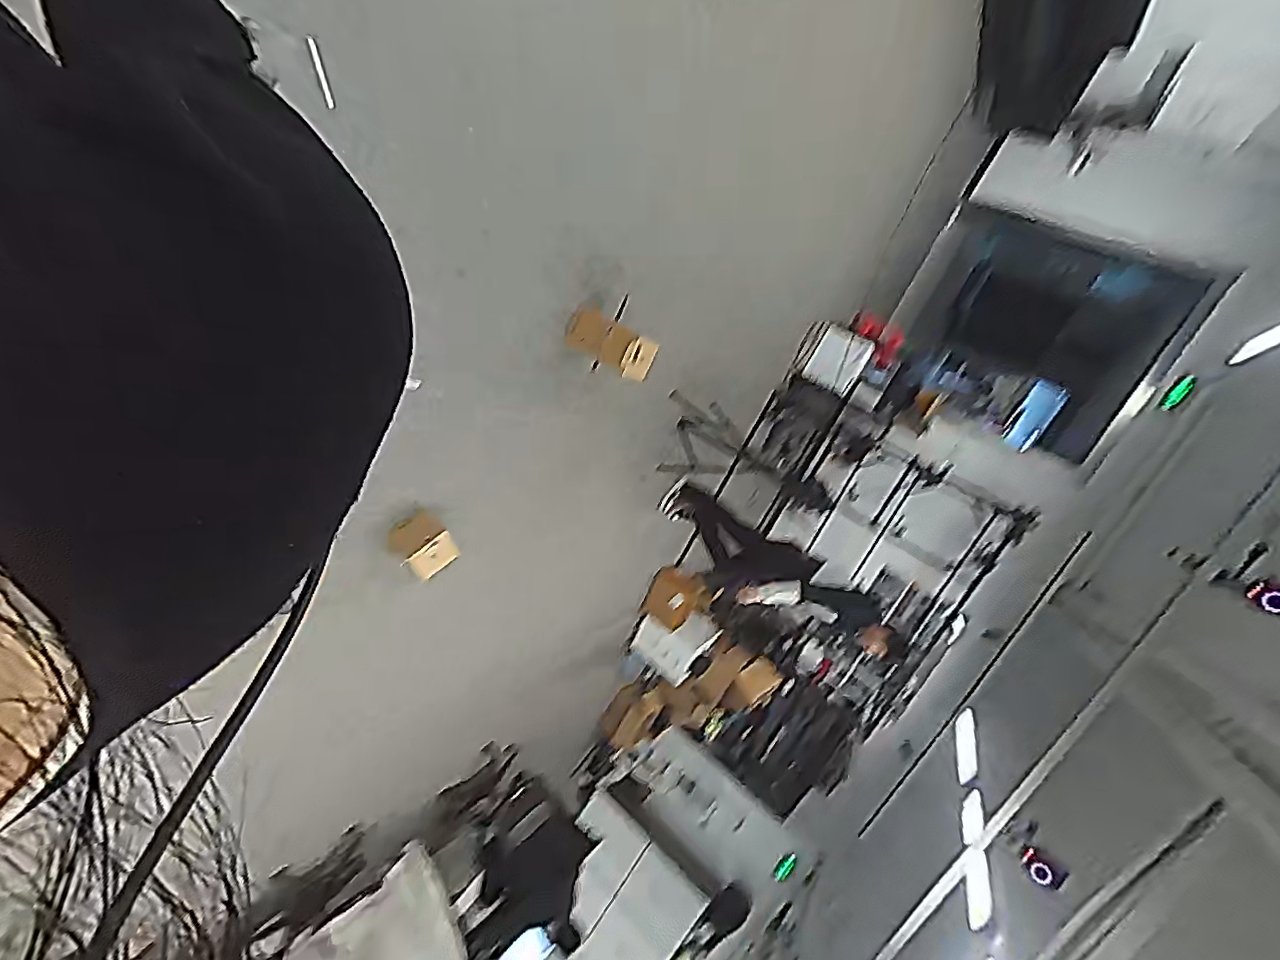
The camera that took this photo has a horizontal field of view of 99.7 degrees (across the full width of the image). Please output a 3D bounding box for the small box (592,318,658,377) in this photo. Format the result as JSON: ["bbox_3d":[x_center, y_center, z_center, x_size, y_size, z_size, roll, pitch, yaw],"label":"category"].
[{"bbox_3d":[-0.063,-0.537,2.187,0.179,0.176,0.168,-3,123,-60],"label":"small box"}]

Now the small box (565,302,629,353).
[{"bbox_3d":[-0.185,-0.624,2.257,0.179,0.176,0.168,-6,126,-60],"label":"small box"}]

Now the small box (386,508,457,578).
[{"bbox_3d":[-0.848,0.243,2.106,0.168,0.176,0.179,-42,151,-26],"label":"small box"}]
